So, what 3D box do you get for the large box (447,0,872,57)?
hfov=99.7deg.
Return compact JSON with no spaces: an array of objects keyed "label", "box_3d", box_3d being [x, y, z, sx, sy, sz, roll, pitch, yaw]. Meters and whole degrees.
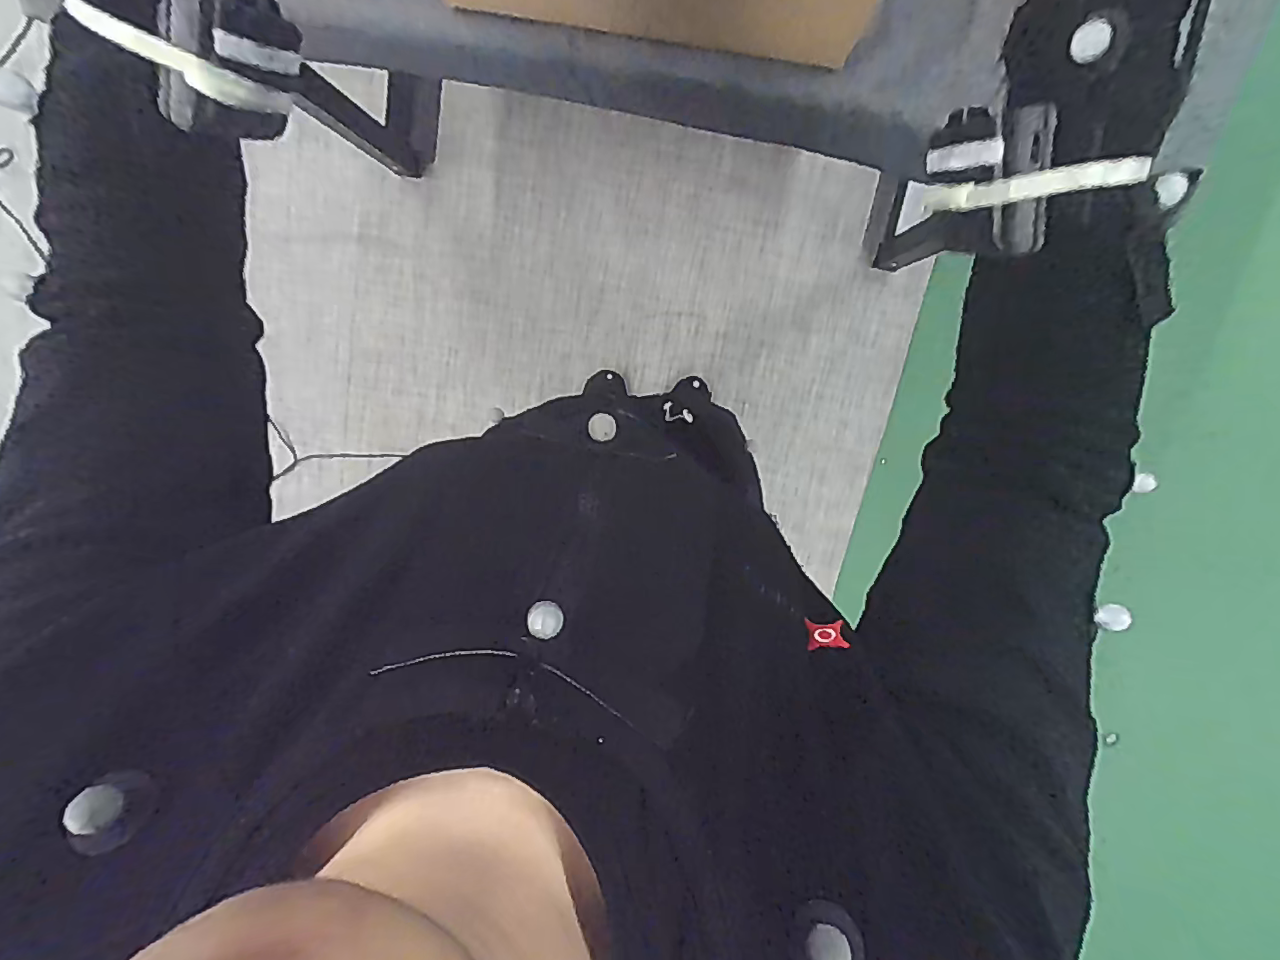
[{"label":"large box","box_3d":[0.019,-0.564,0.366,0.408,0.320,0.320,9,101,0]}]
